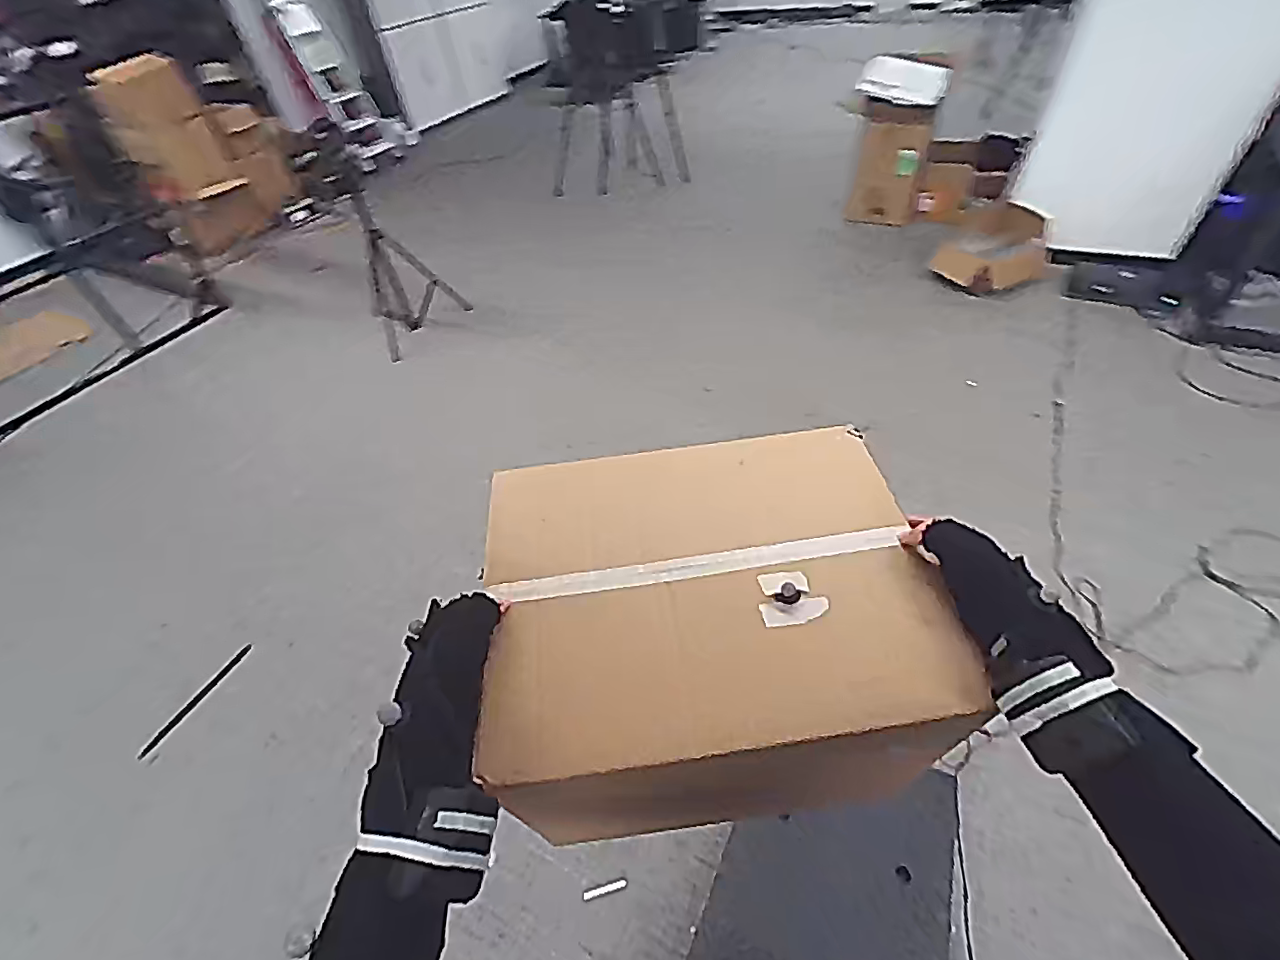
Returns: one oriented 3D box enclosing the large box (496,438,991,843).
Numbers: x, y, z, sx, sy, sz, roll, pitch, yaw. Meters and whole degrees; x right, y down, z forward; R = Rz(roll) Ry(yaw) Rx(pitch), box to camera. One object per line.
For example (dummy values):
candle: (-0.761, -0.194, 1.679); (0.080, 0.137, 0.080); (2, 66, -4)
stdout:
large box: (0.075, 0.189, 0.628); (0.408, 0.320, 0.320); (-7, 49, -1)
